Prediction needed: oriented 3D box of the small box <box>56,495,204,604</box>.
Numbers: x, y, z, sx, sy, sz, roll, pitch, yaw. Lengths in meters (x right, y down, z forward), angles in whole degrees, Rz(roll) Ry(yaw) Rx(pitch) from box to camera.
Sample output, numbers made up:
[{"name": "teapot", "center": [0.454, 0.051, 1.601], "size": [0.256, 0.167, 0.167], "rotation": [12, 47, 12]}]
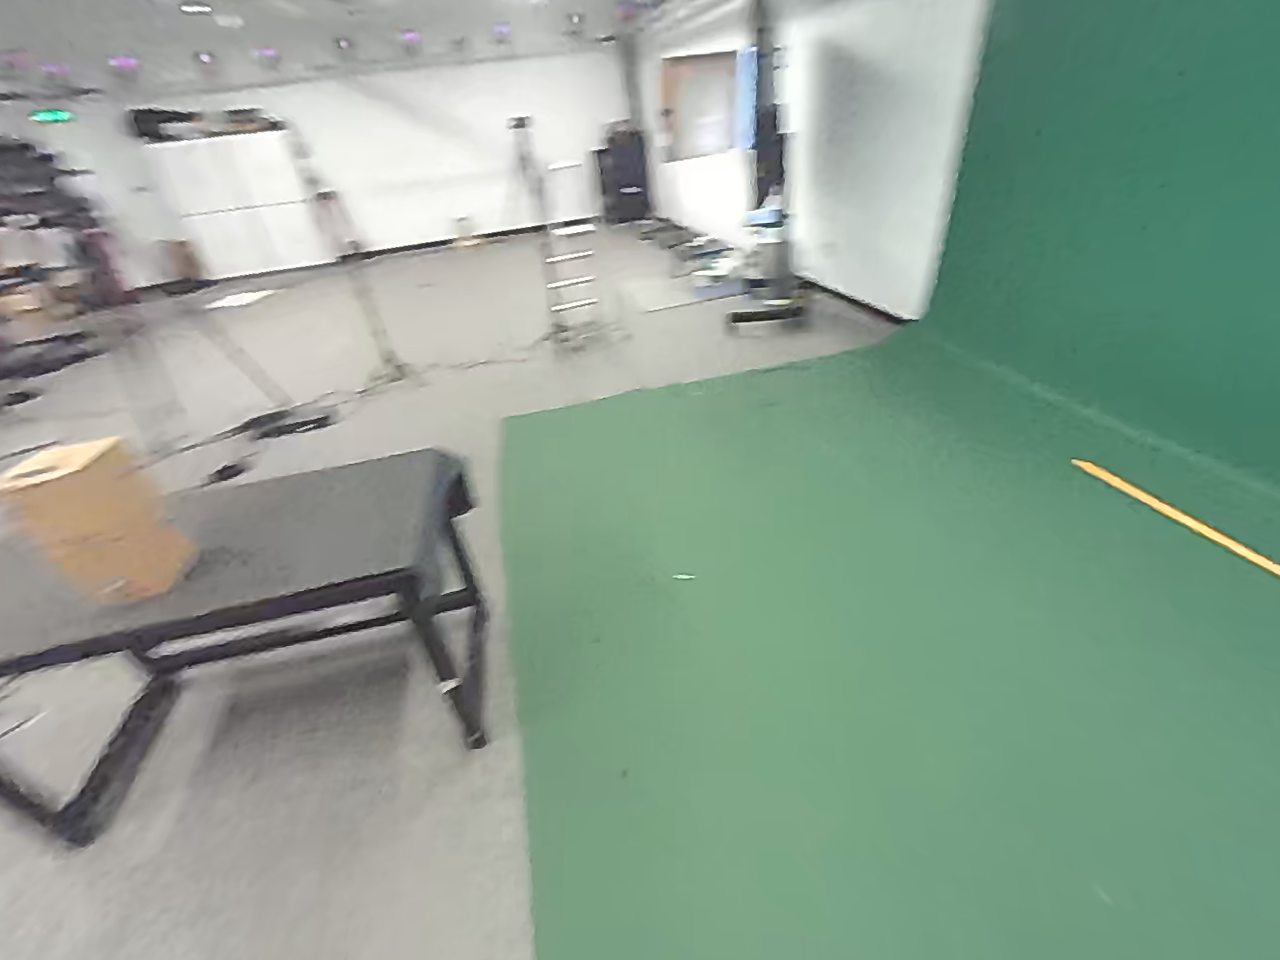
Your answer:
[{"name": "small box", "center": [-1.186, 0.162, 1.280], "size": [0.168, 0.176, 0.179], "rotation": [-13, 34, -8]}]
